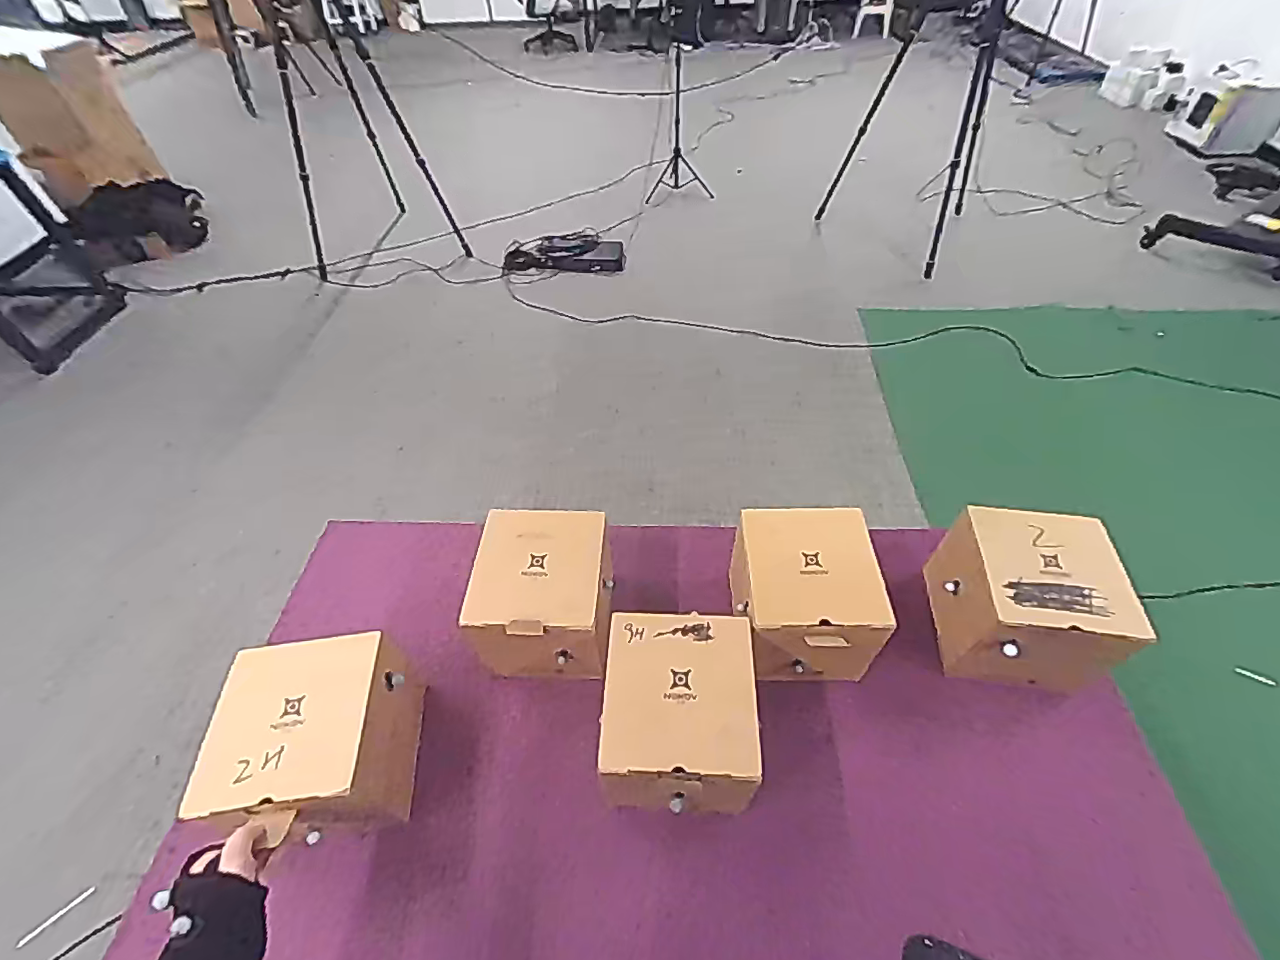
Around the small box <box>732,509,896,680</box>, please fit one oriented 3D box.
[{"bbox_3d":[0.221,0.158,0.745,0.168,0.176,0.179,-1,50,2],"label":"small box"}]

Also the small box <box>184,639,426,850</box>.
[{"bbox_3d":[-0.368,0.313,0.640,0.168,0.176,0.179,-7,49,-3],"label":"small box"}]
